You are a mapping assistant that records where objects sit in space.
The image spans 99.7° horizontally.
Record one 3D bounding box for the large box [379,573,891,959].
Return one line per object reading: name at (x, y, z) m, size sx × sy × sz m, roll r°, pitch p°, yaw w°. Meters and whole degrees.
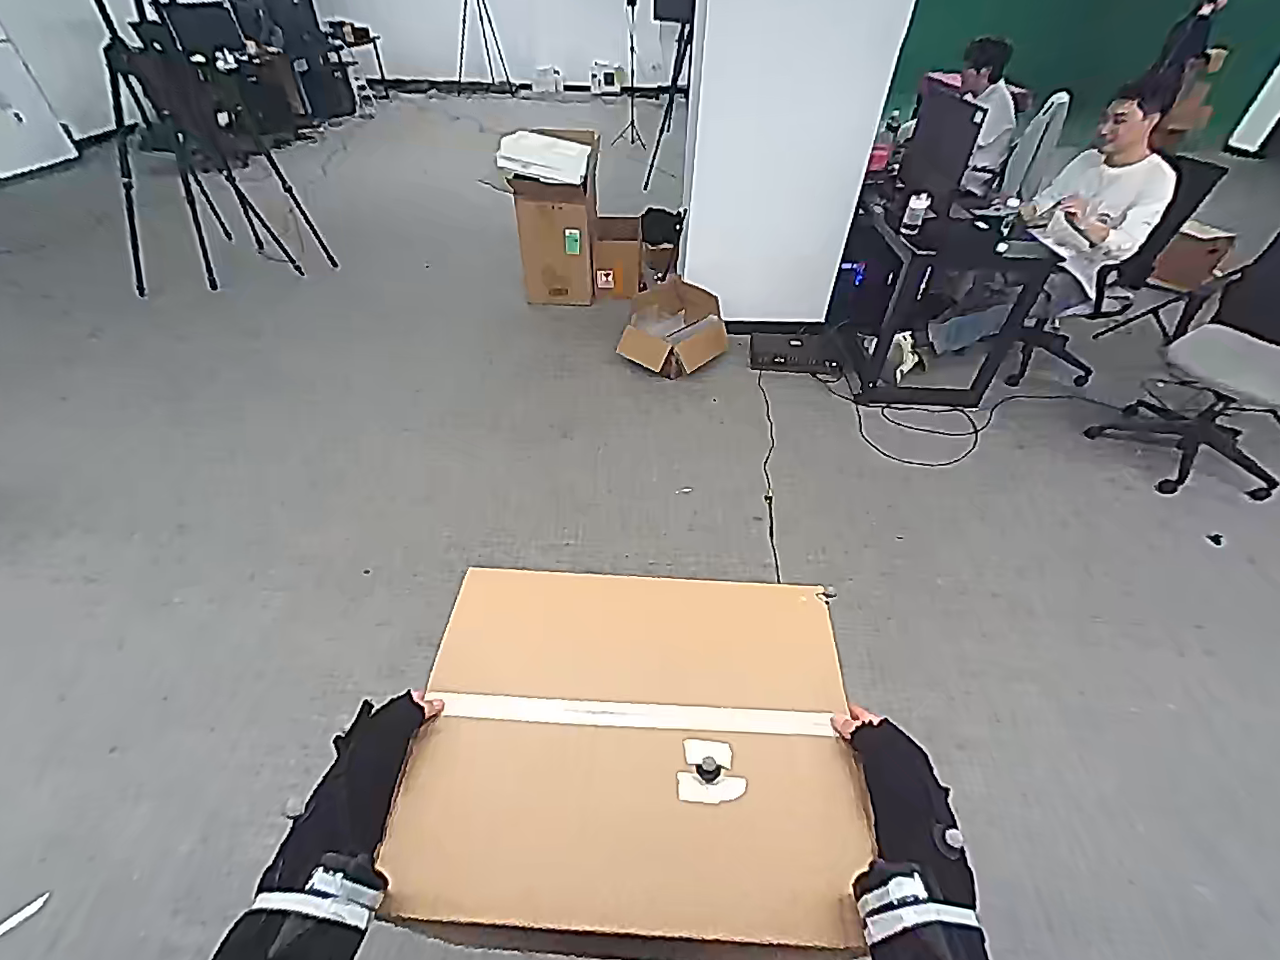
large box at (-0.004, 0.329, 0.620) m, size 0.408 × 0.320 × 0.320 m, roll 3°, pitch 46°, yaw 1°
